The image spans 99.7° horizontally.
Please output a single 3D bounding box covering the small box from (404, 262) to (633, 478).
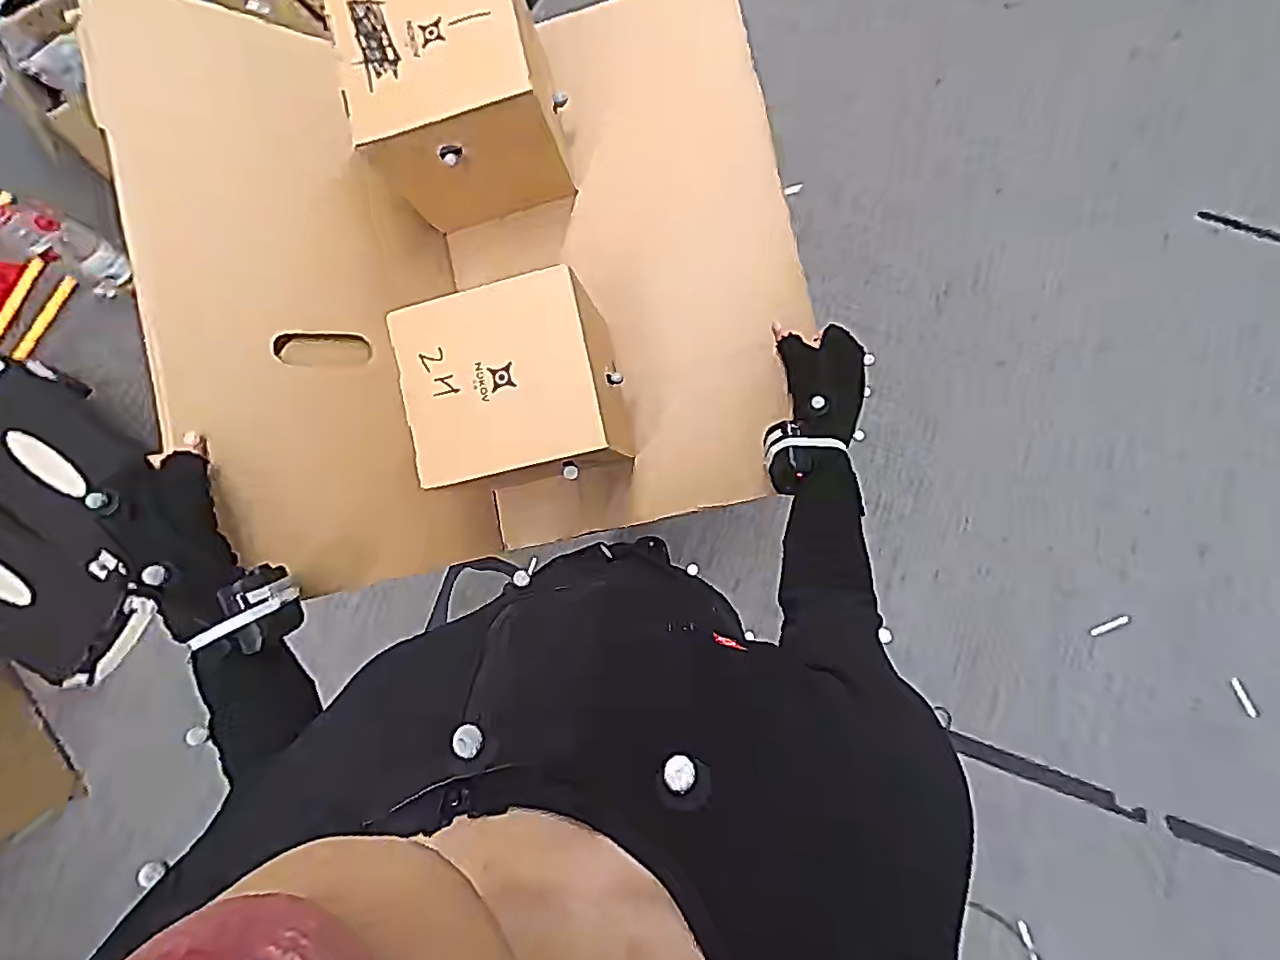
[{"bbox_3d":[-0.108,-0.097,0.562,0.179,0.176,0.168,-11,87,8],"label":"small box"}]
